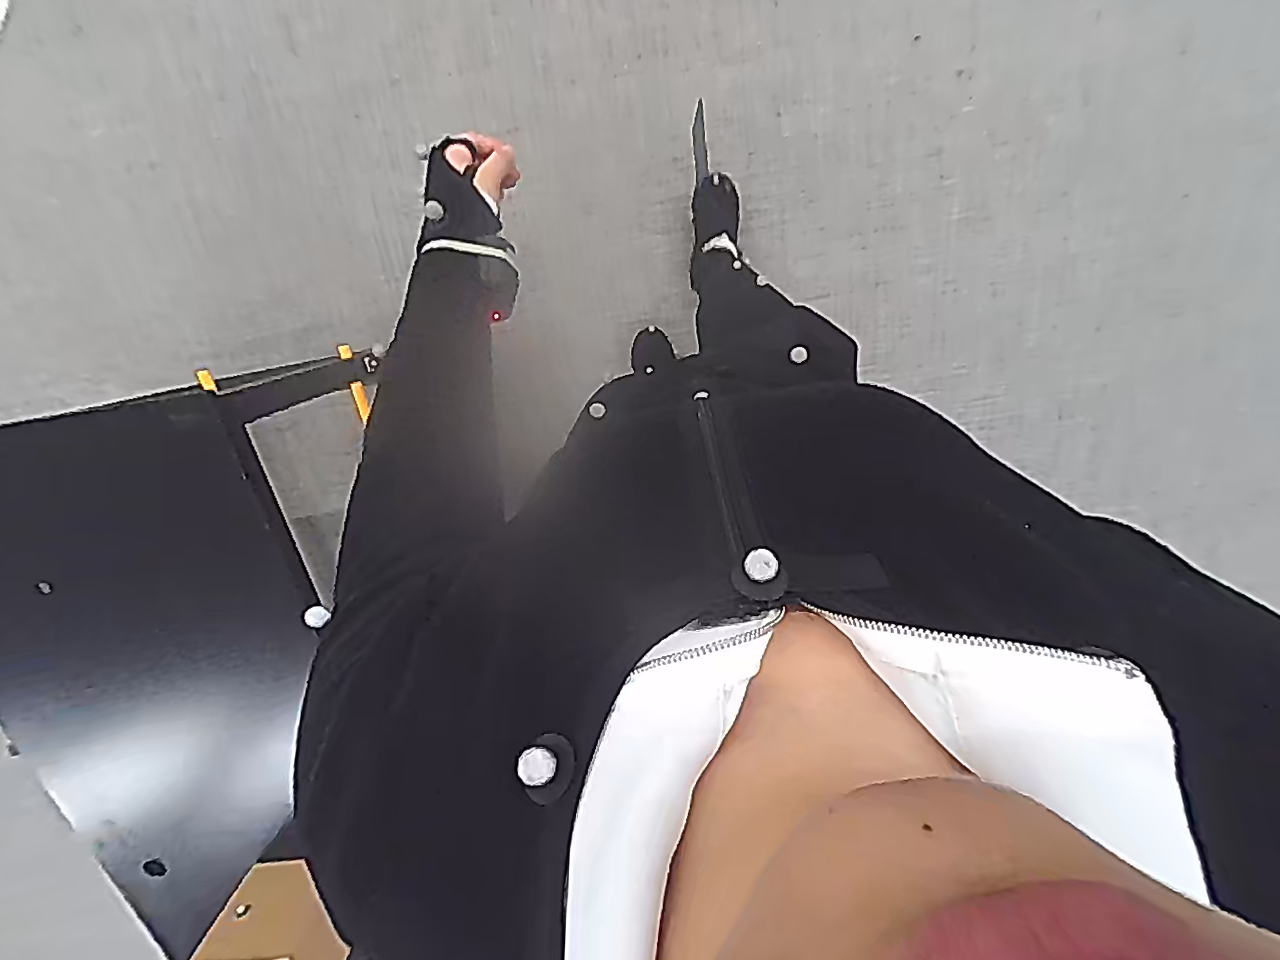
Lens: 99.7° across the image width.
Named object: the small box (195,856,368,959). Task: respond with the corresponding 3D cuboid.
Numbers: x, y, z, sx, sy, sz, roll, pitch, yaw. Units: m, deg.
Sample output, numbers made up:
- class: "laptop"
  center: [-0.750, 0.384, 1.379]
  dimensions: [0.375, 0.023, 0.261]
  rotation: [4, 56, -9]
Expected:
- class: "small box"
  center: [-0.634, 0.822, 0.979]
  dimensions: [0.179, 0.176, 0.168]
  rotation: [-8, 111, 3]
